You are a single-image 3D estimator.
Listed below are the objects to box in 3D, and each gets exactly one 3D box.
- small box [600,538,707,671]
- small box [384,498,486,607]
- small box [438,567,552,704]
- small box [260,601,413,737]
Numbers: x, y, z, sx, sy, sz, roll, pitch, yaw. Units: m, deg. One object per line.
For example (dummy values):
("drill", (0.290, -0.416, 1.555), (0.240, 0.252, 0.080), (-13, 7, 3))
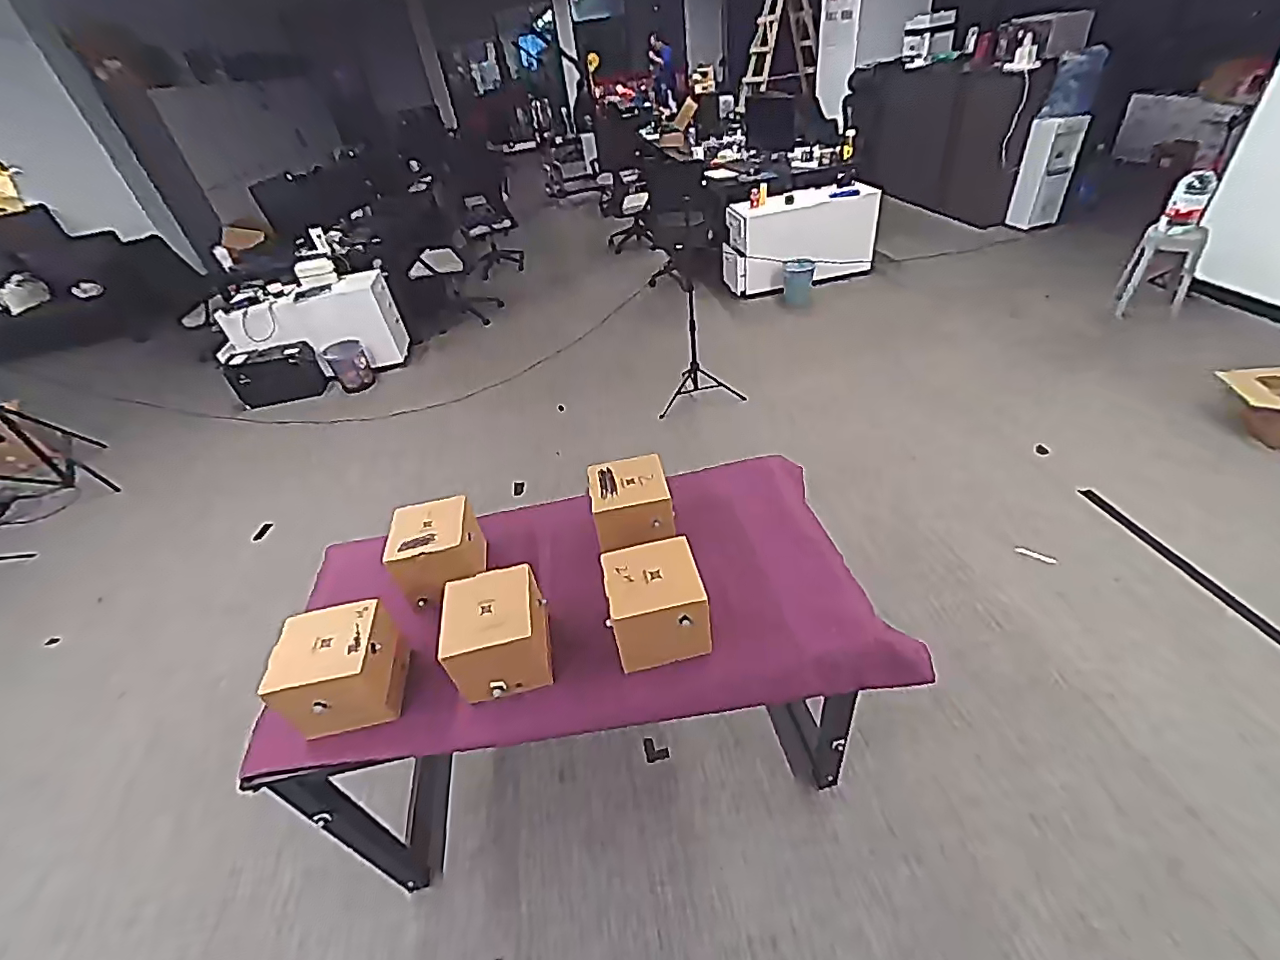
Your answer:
("small box", (0.029, 0.244, 1.056), (0.179, 0.176, 0.168), (-13, 39, -3))
("small box", (-0.461, 0.172, 1.246), (0.168, 0.176, 0.179), (-12, 39, -4))
("small box", (-0.274, 0.302, 1.052), (0.168, 0.176, 0.179), (-13, 41, -4))
("small box", (-0.563, 0.363, 1.030), (0.179, 0.176, 0.168), (-12, 40, -3))
